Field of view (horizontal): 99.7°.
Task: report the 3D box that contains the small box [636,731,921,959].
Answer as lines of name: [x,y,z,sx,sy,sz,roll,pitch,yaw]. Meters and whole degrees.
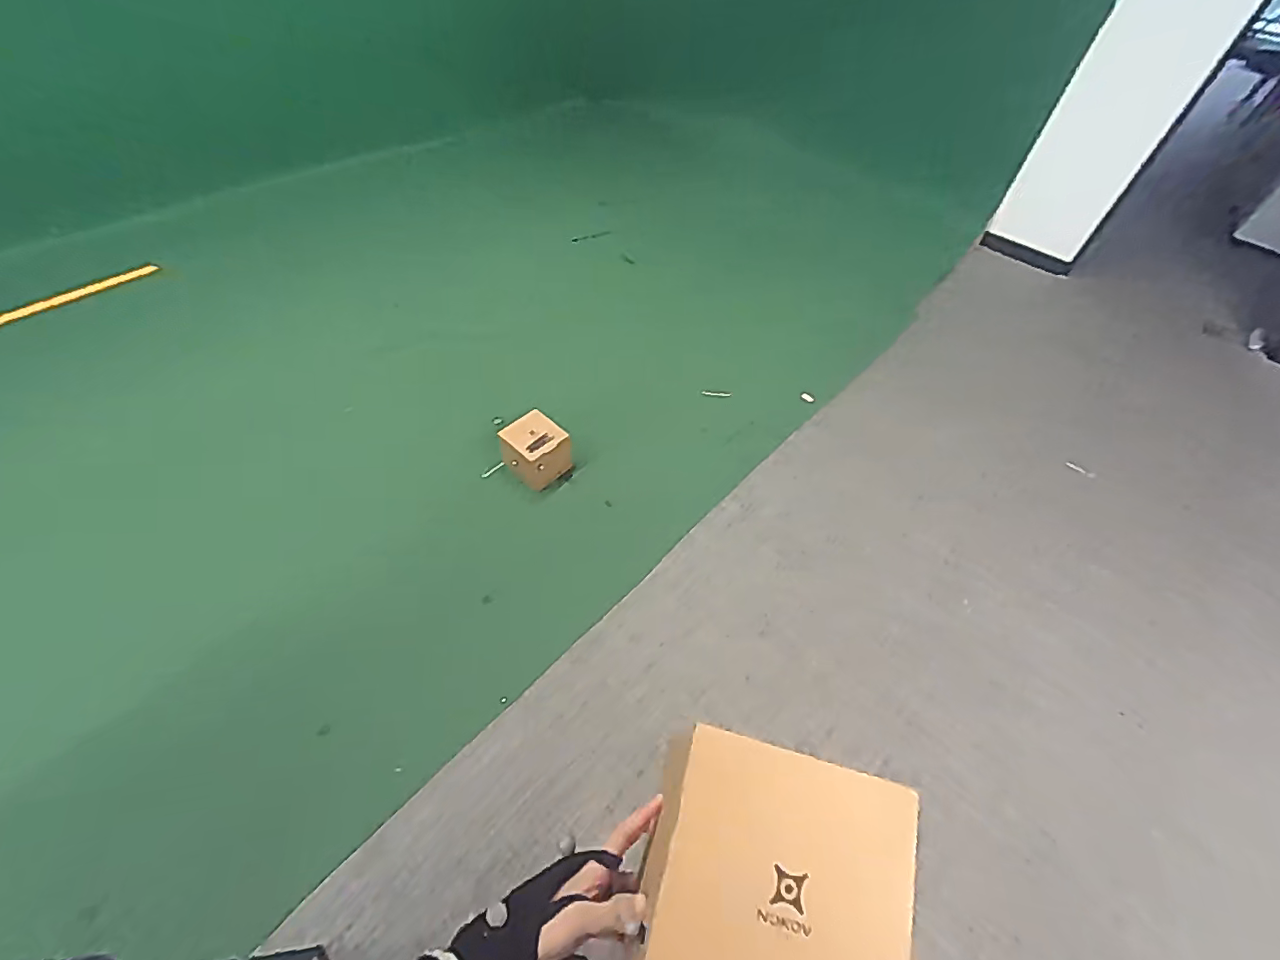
small box: [0.096,0.315,0.428,0.168,0.176,0.179,15,65,4]
